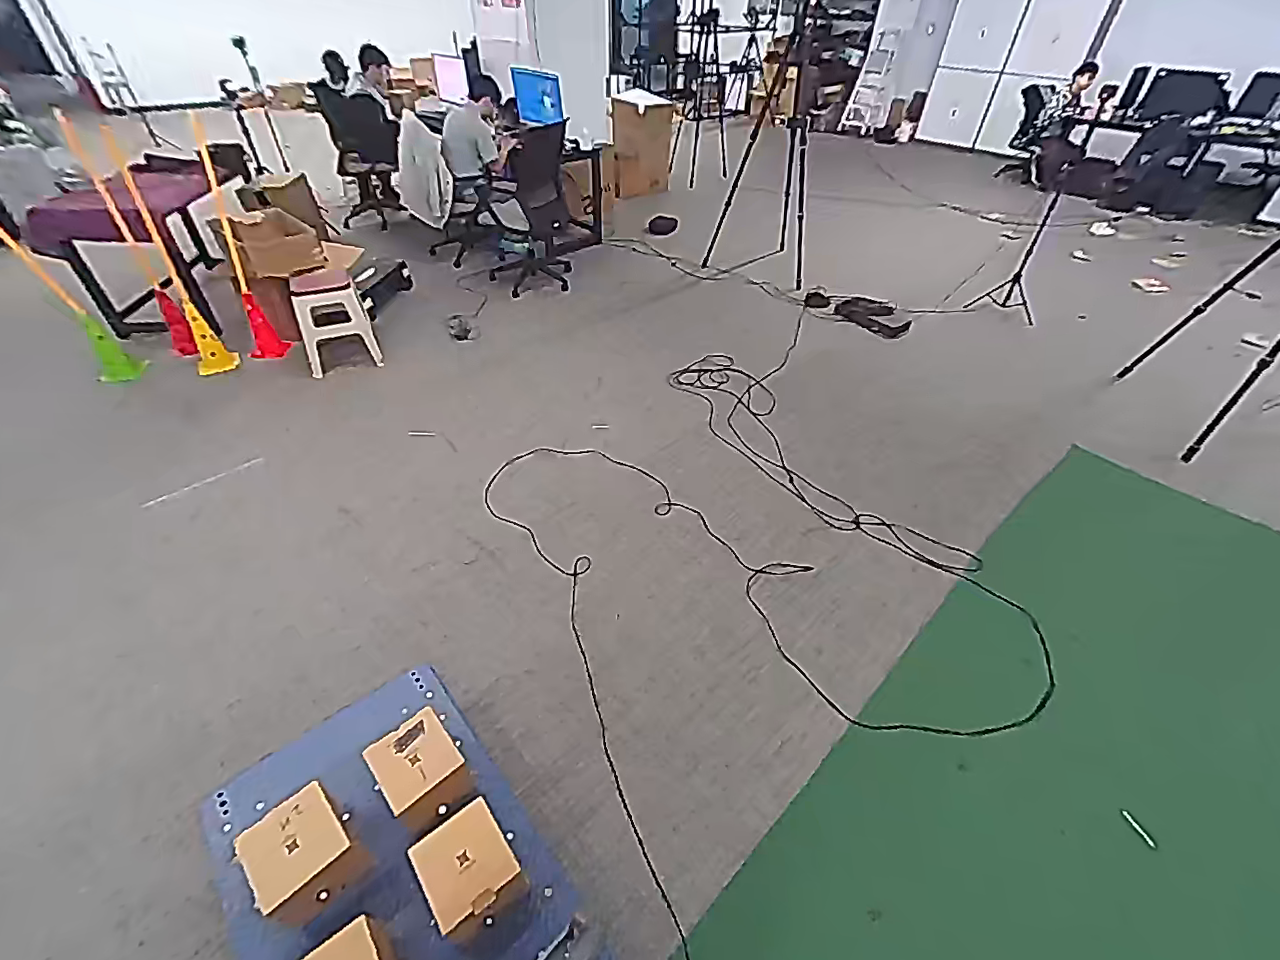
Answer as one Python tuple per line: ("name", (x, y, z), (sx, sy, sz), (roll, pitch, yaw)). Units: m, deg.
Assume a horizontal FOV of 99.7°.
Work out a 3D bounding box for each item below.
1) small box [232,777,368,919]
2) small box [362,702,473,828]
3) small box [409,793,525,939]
("small box", (-0.707, 0.779, 1.139), (0.168, 0.176, 0.179), (-33, 54, -33))
("small box", (-0.516, 0.669, 1.268), (0.168, 0.176, 0.179), (-31, 54, -30))
("small box", (-0.358, 0.811, 1.135), (0.168, 0.176, 0.179), (-28, 53, -29))
